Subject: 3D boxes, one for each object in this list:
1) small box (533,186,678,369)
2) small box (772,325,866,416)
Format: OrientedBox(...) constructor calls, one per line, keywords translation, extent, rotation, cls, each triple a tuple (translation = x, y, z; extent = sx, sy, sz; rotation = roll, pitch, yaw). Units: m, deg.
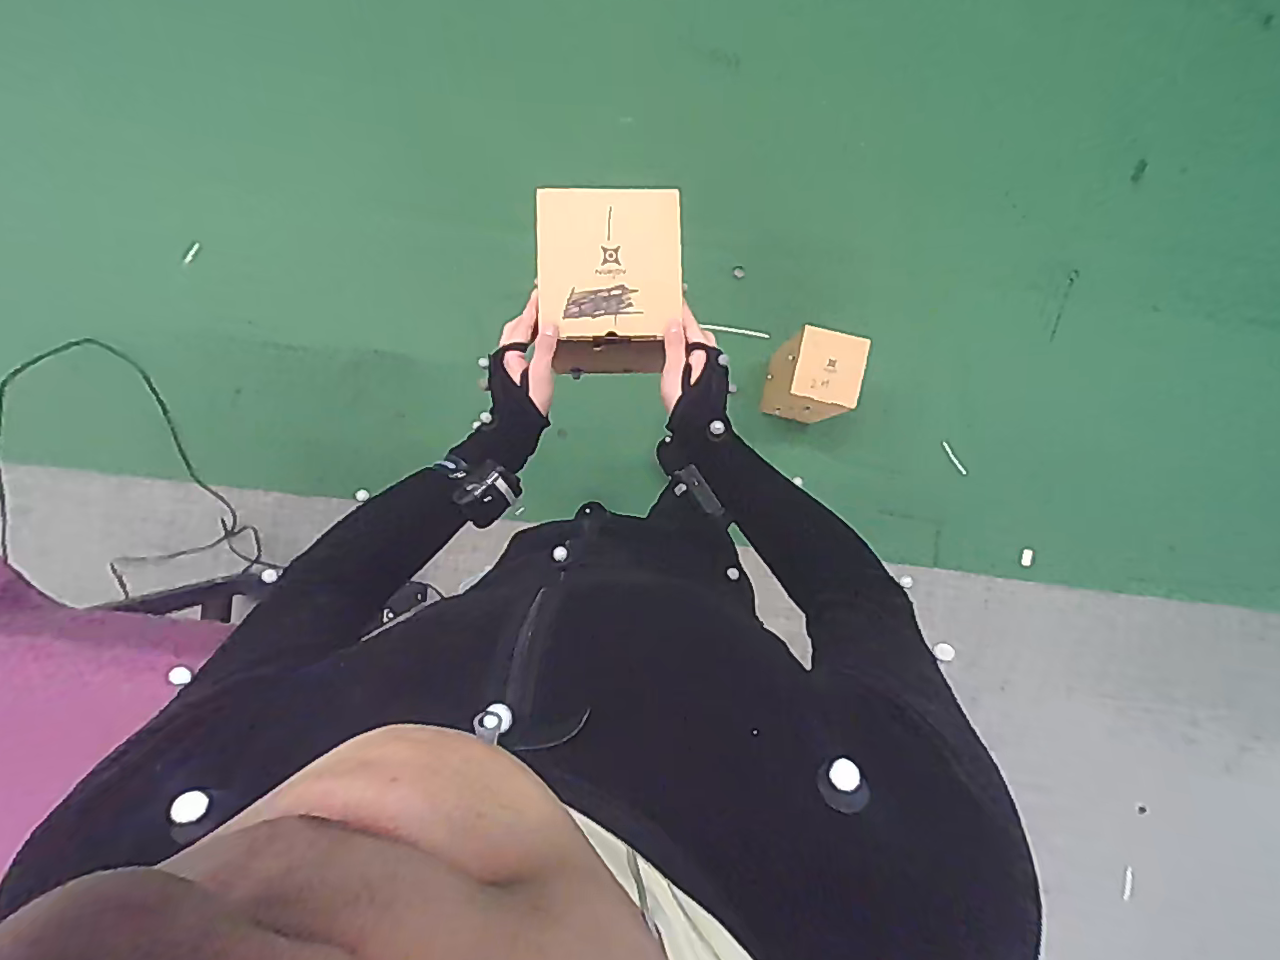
OrientedBox(translation=(-0.042, -0.243, 0.691), extent=(0.168, 0.176, 0.179), rotation=(-2, 86, -3), cls="small box")
OrientedBox(translation=(0.453, -0.275, 1.395), extent=(0.168, 0.176, 0.179), rotation=(13, 90, -1), cls="small box")
